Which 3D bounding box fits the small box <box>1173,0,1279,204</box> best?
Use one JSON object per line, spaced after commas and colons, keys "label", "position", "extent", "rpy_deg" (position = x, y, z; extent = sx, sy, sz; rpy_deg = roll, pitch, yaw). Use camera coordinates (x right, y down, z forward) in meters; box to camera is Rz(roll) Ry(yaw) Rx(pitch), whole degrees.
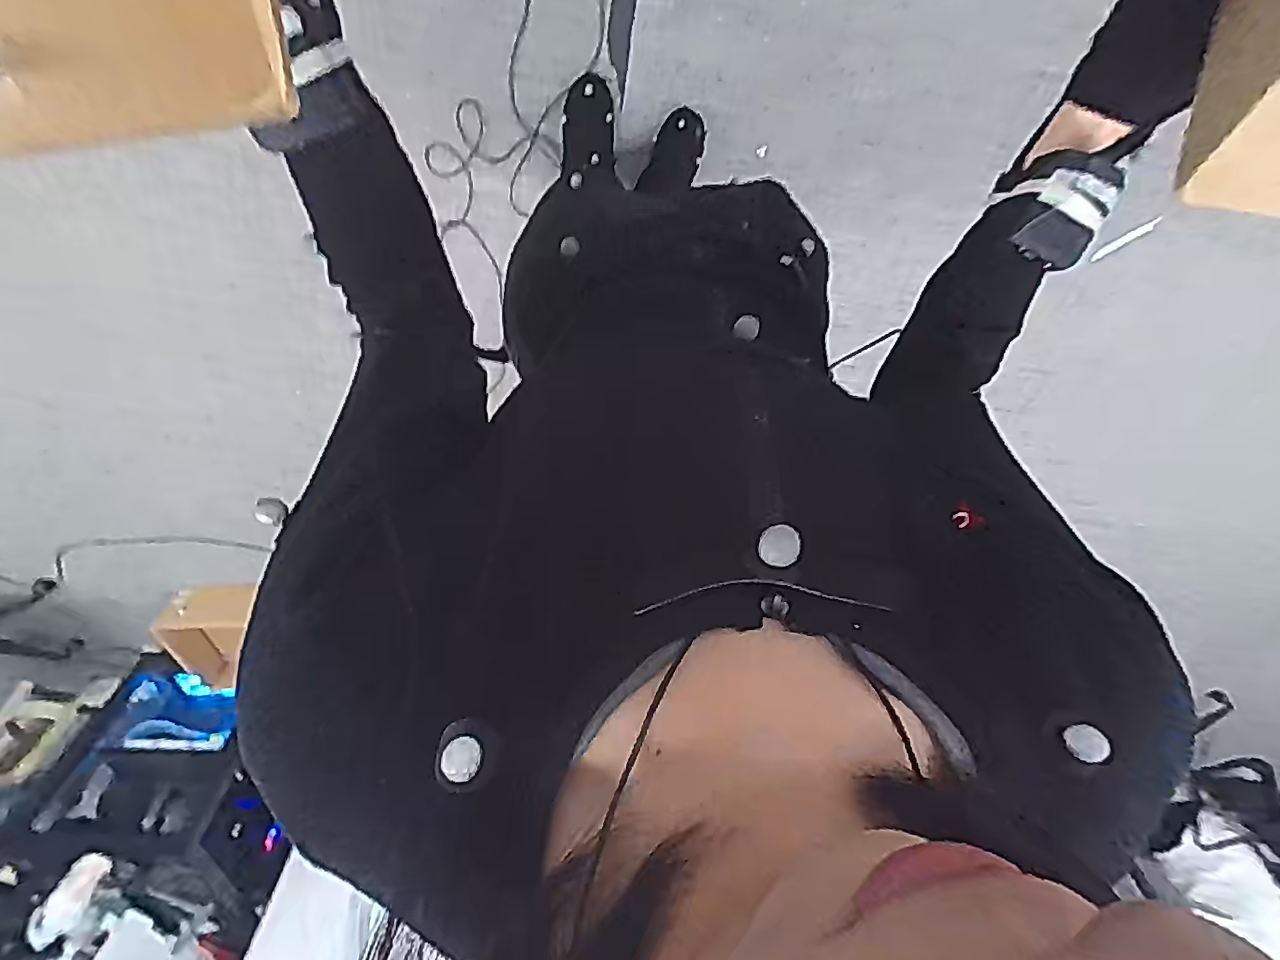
{"label": "small box", "position": [0.341, -0.211, 0.171], "extent": [0.168, 0.179, 0.176], "rpy_deg": [21, 169, 19]}
